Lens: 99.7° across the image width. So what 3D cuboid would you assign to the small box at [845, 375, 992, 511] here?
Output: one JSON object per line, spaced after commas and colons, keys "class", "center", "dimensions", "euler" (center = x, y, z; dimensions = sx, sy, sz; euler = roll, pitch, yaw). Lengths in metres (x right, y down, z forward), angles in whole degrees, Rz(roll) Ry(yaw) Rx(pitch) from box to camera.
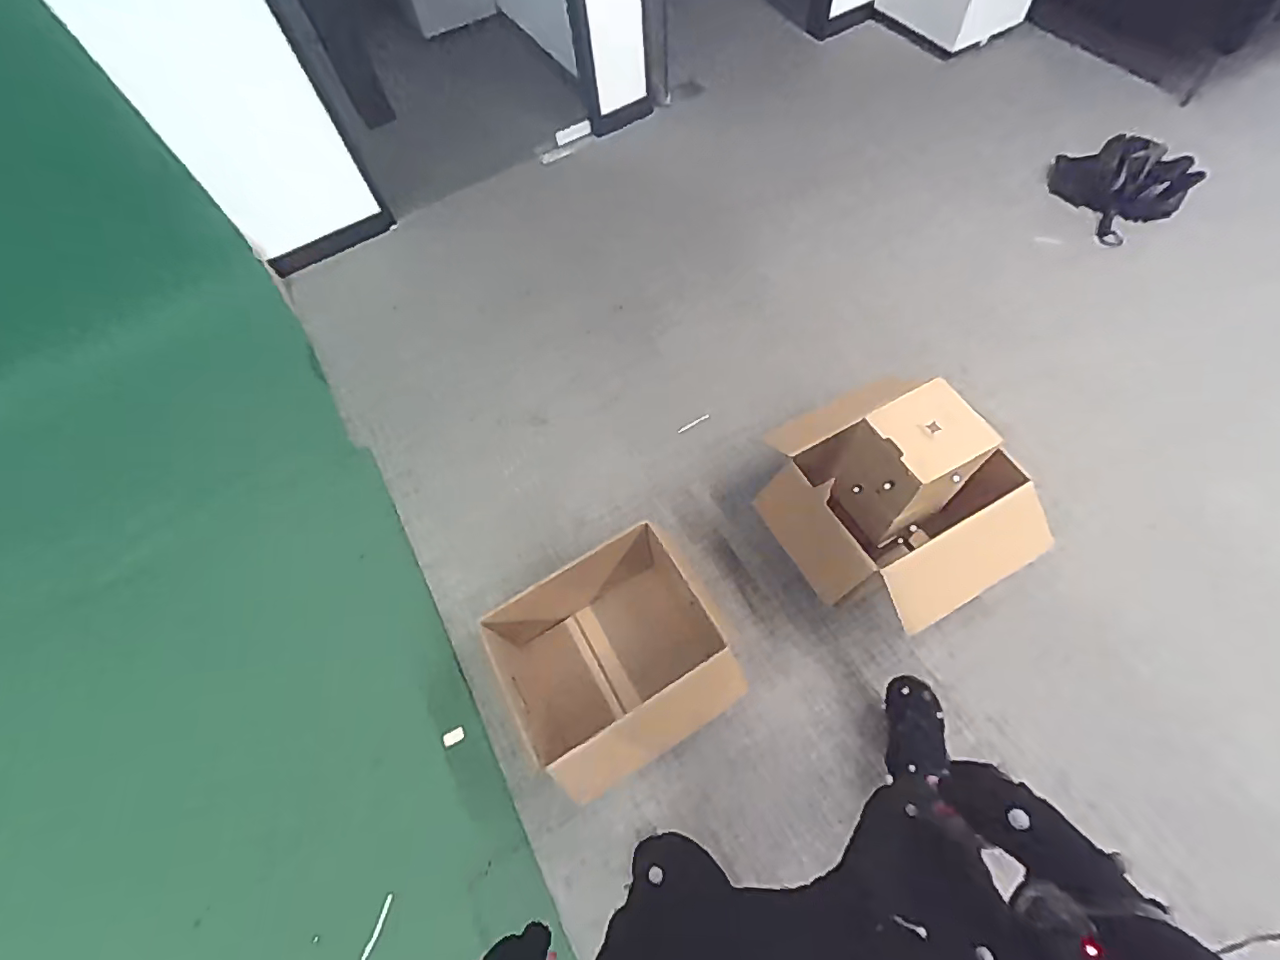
{"class": "small box", "center": [0.527, -0.064, 1.058], "dimensions": [0.179, 0.176, 0.168], "euler": [-28, 66, -8]}
